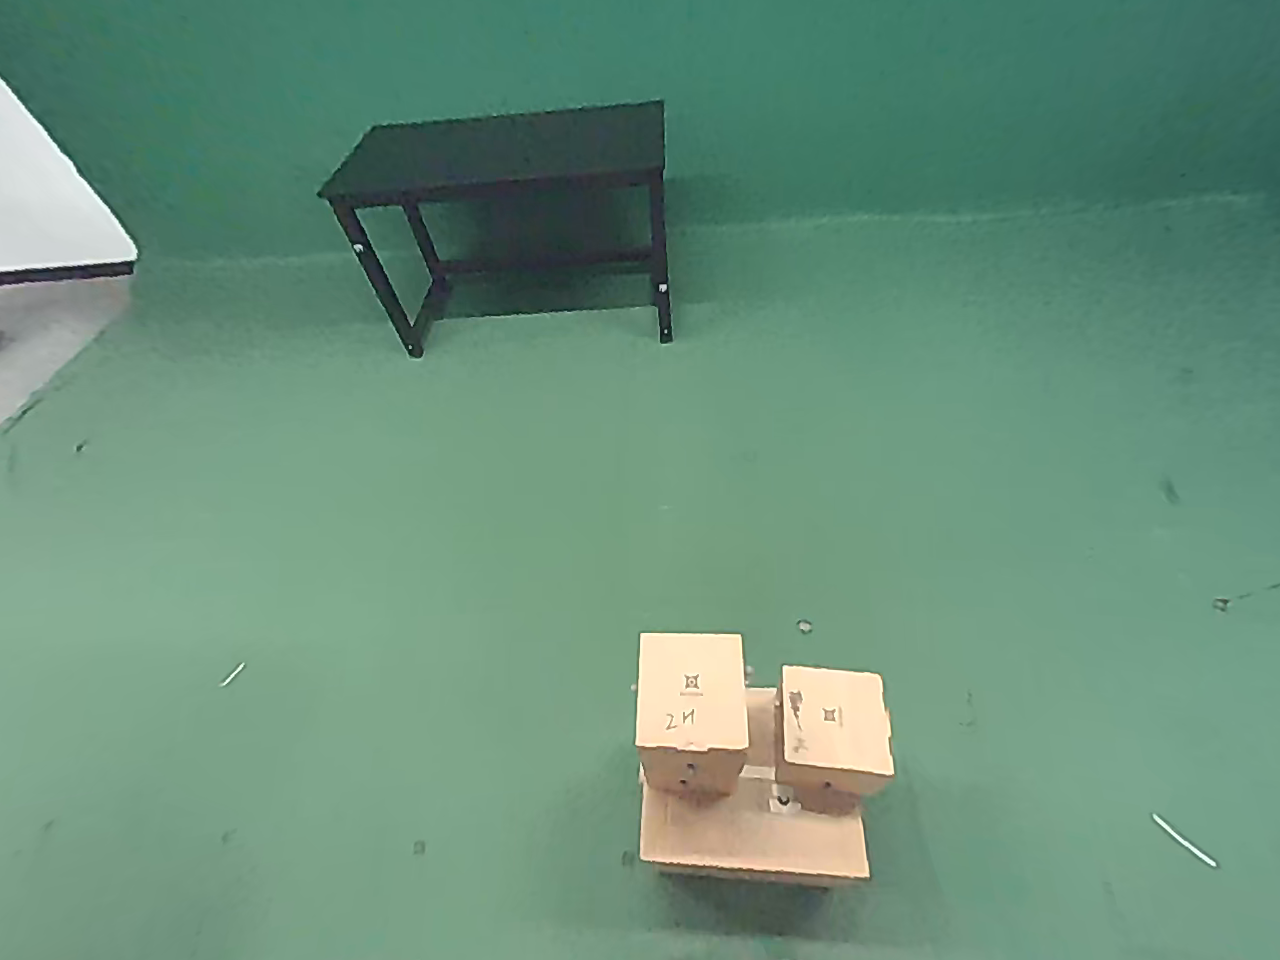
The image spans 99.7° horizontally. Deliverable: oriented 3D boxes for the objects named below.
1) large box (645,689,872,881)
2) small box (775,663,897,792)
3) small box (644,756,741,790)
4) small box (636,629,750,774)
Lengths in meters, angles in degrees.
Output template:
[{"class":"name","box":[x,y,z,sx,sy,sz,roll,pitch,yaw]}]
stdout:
[{"class":"large box","box":[0.223,0.652,1.156,0.408,0.320,0.320,0,52,6]},{"class":"small box","box":[0.345,0.453,0.984,0.179,0.176,0.168,3,51,10]},{"class":"small box","box":[0.098,0.462,1.012,0.168,0.176,0.179,0,51,6]},{"class":"small box","box":[0.086,0.361,0.882,0.168,0.176,0.179,-1,51,6]}]
